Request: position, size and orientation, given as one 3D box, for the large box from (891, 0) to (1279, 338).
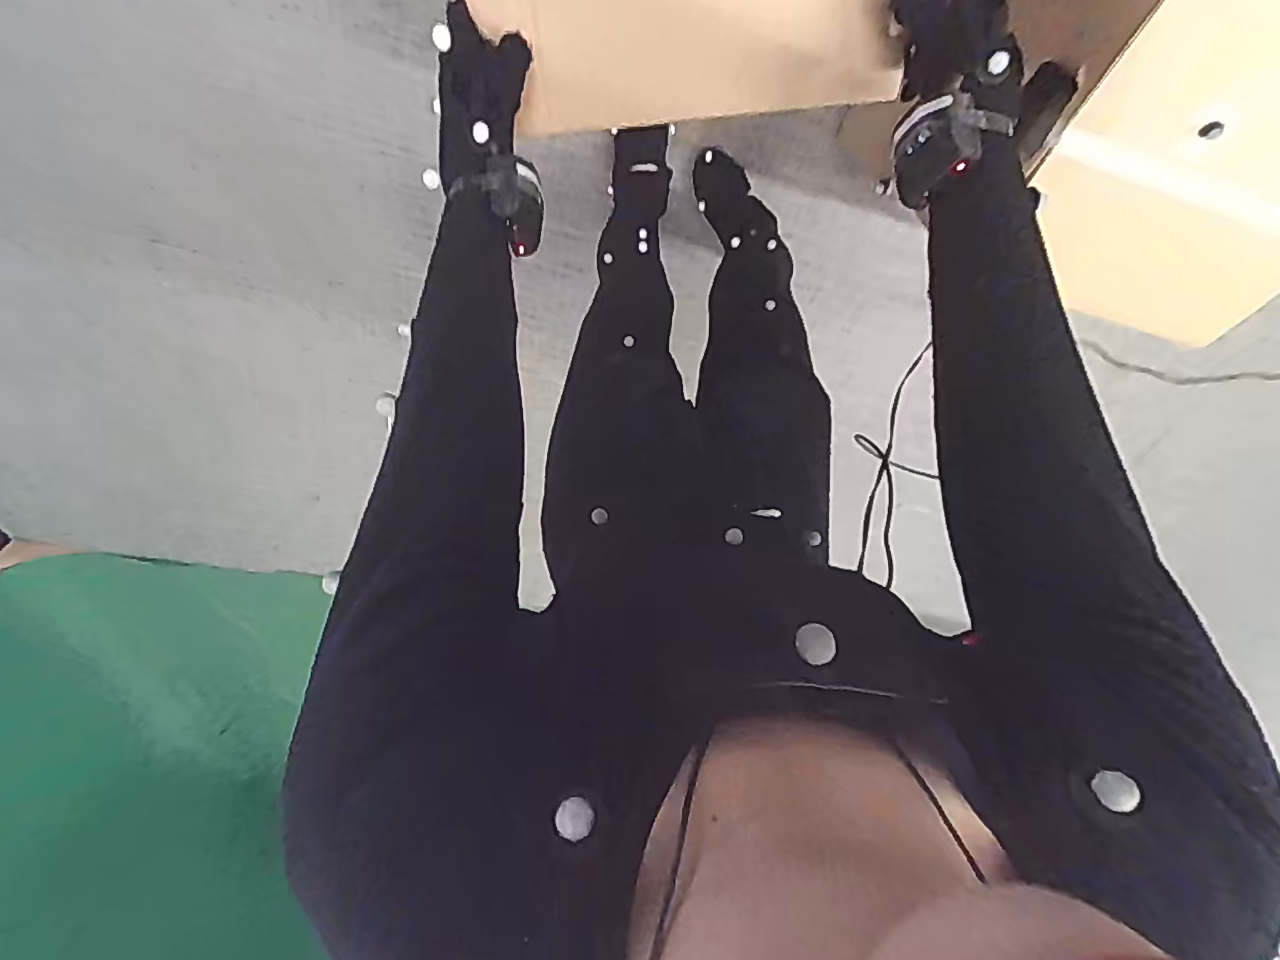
[{"bbox_3d":[0.611,-0.432,0.675,0.408,0.320,0.320,12,138,-10],"label":"large box"}]
